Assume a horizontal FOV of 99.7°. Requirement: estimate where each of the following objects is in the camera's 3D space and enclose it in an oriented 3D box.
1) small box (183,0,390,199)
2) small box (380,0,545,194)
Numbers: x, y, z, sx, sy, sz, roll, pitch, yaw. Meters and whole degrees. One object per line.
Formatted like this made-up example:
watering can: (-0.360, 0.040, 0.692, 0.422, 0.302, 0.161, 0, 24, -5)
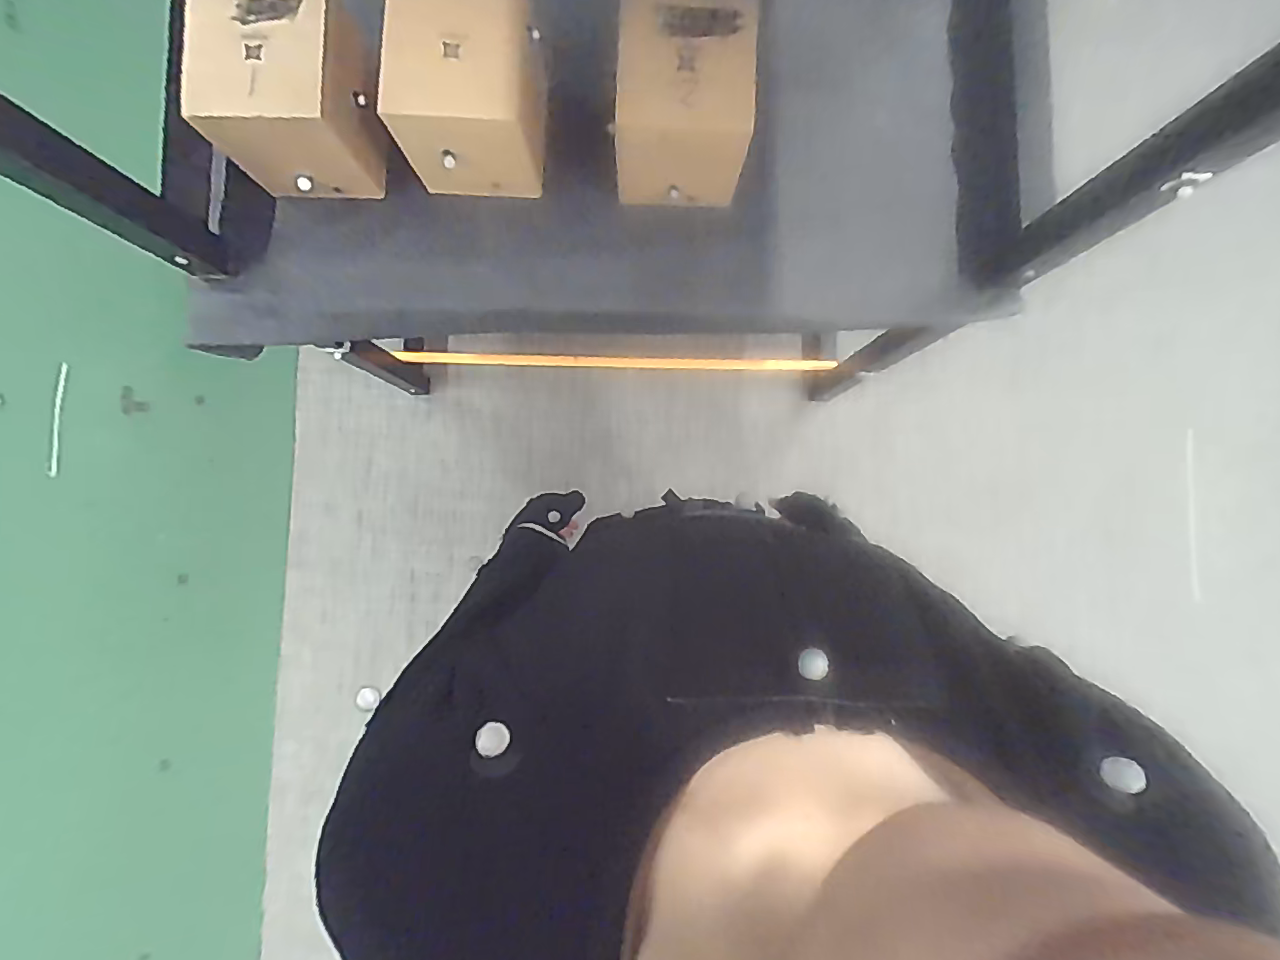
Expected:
small box: (-0.451, -0.508, 0.718, 0.168, 0.176, 0.179, 1, 87, -1)
small box: (-0.224, -0.512, 0.723, 0.168, 0.176, 0.179, 2, 86, -1)
